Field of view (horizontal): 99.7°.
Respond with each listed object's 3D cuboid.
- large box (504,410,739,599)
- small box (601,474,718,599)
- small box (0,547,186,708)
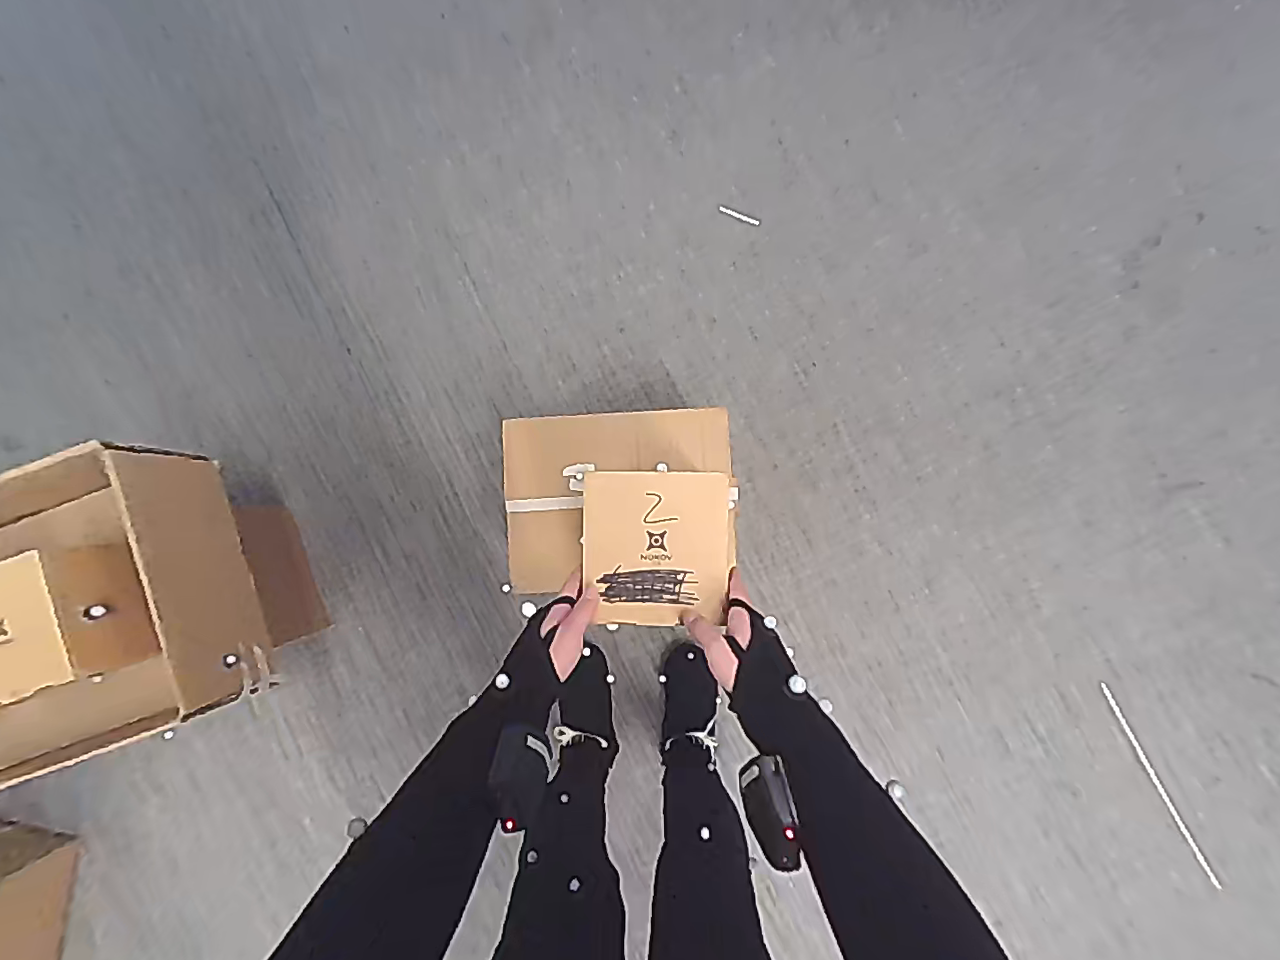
[{"bbox_3d":[-0.027,0.049,1.096,0.408,0.320,0.320,-3,87,3],"label":"large box"},{"bbox_3d":[0.032,0.081,0.847,0.168,0.176,0.179,1,88,2],"label":"small box"},{"bbox_3d":[-0.806,0.200,0.765,0.168,0.176,0.179,-19,88,1],"label":"small box"}]
